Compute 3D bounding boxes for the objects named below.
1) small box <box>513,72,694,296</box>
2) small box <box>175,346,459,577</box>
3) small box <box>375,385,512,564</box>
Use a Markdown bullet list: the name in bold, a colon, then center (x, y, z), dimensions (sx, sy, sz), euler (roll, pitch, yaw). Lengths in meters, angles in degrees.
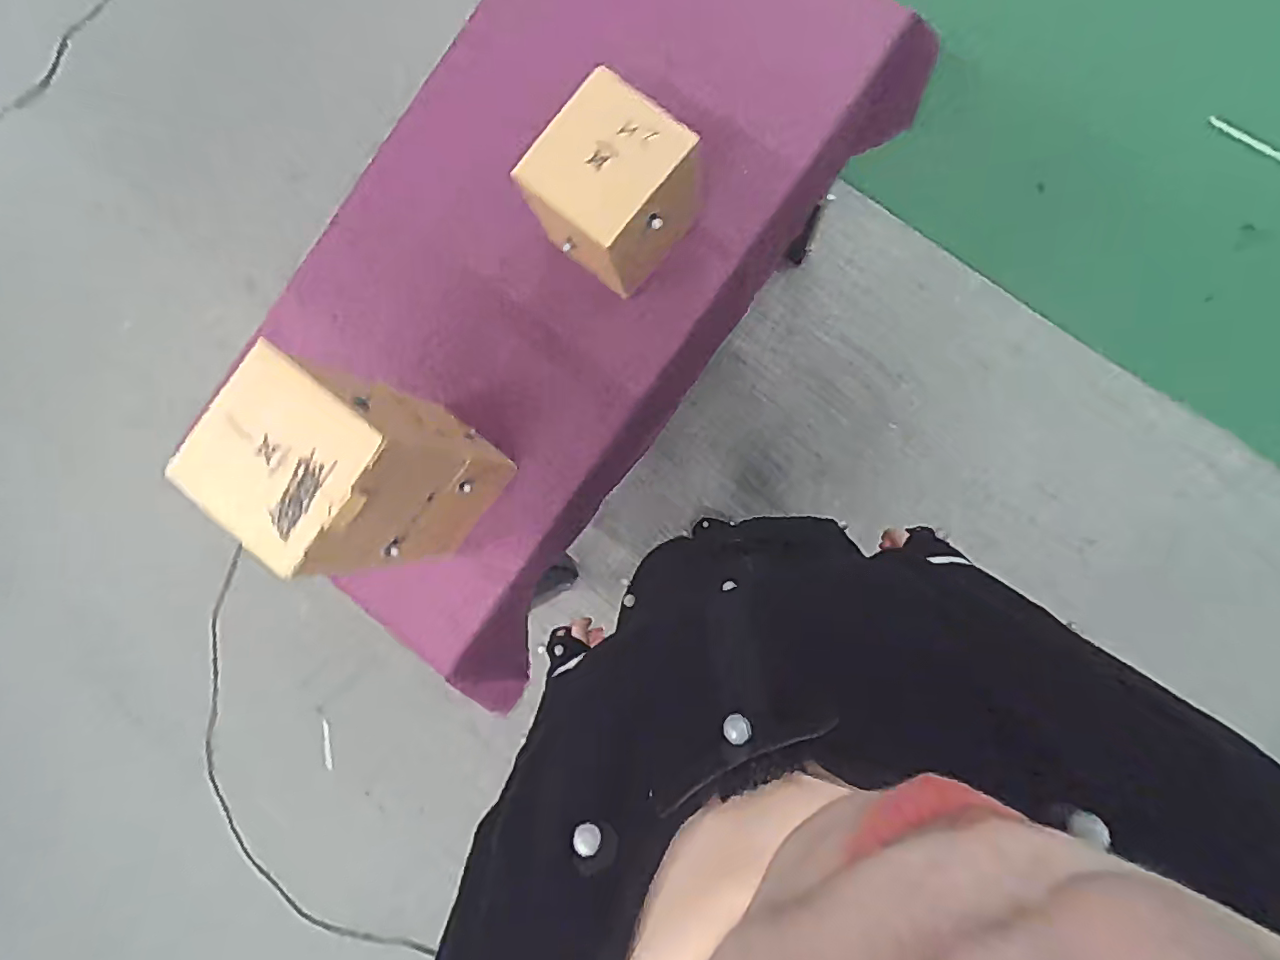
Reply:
- **small box**: center (-0.037, -0.392, 0.750), dimensions (0.168, 0.176, 0.179), euler (41, 93, 8)
- **small box**: center (-0.341, -0.015, 0.607), dimensions (0.179, 0.176, 0.168), euler (36, 91, 10)
- **small box**: center (-0.313, -0.002, 0.768), dimensions (0.168, 0.176, 0.179), euler (37, 91, 9)
